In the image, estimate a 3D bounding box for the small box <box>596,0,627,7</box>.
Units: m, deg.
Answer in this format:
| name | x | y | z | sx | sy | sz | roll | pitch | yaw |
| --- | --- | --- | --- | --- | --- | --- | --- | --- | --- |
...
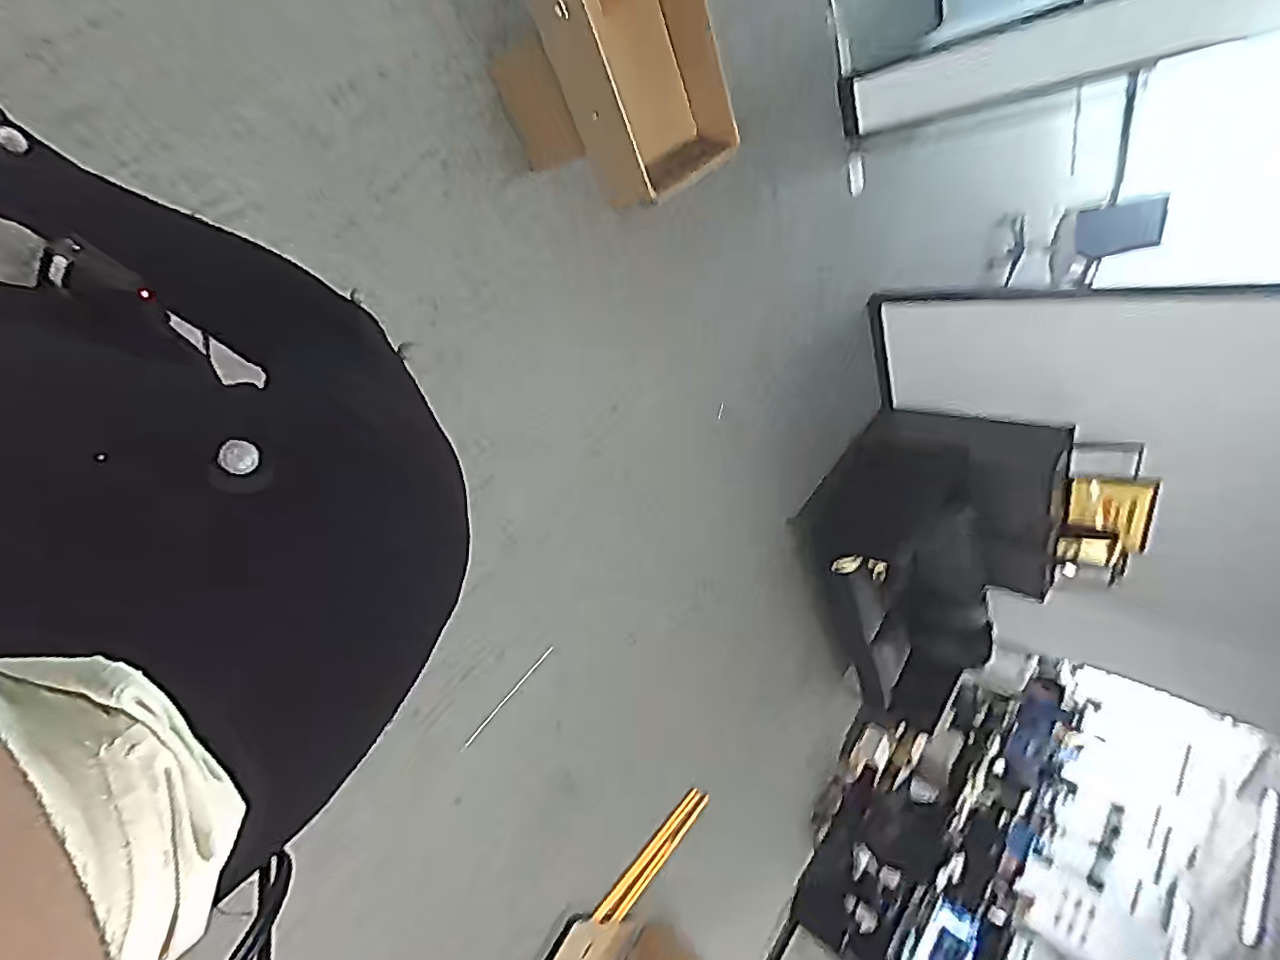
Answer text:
| name | x | y | z | sx | sy | sz | roll | pitch | yaw |
| --- | --- | --- | --- | --- | --- | --- | --- | --- | --- |
| small box | -0.017 | -1.245 | 1.253 | 0.179 | 0.176 | 0.168 | -44 | 129 | -26 |
